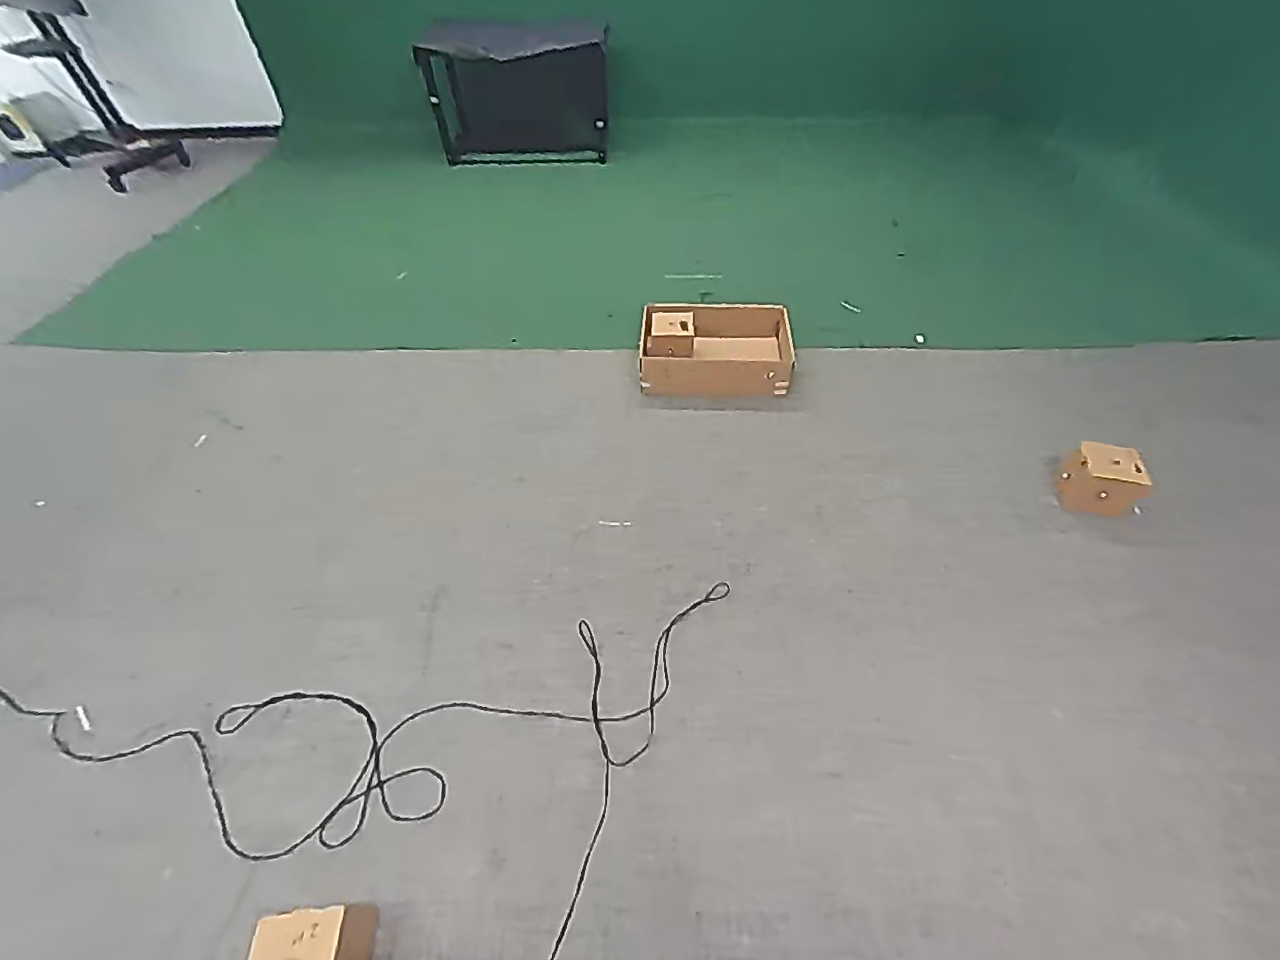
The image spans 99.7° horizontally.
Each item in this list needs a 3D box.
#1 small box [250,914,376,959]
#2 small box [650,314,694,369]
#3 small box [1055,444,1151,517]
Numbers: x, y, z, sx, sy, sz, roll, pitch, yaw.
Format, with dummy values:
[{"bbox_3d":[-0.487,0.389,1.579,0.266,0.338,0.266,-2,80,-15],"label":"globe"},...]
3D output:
[{"bbox_3d":[-0.633,0.961,1.040,0.168,0.176,0.179,-6,48,-3],"label":"small box"},{"bbox_3d":[0.134,-0.583,2.286,0.179,0.176,0.168,1,50,3],"label":"small box"},{"bbox_3d":[1.523,0.004,1.799,0.179,0.176,0.168,9,50,11],"label":"small box"}]
